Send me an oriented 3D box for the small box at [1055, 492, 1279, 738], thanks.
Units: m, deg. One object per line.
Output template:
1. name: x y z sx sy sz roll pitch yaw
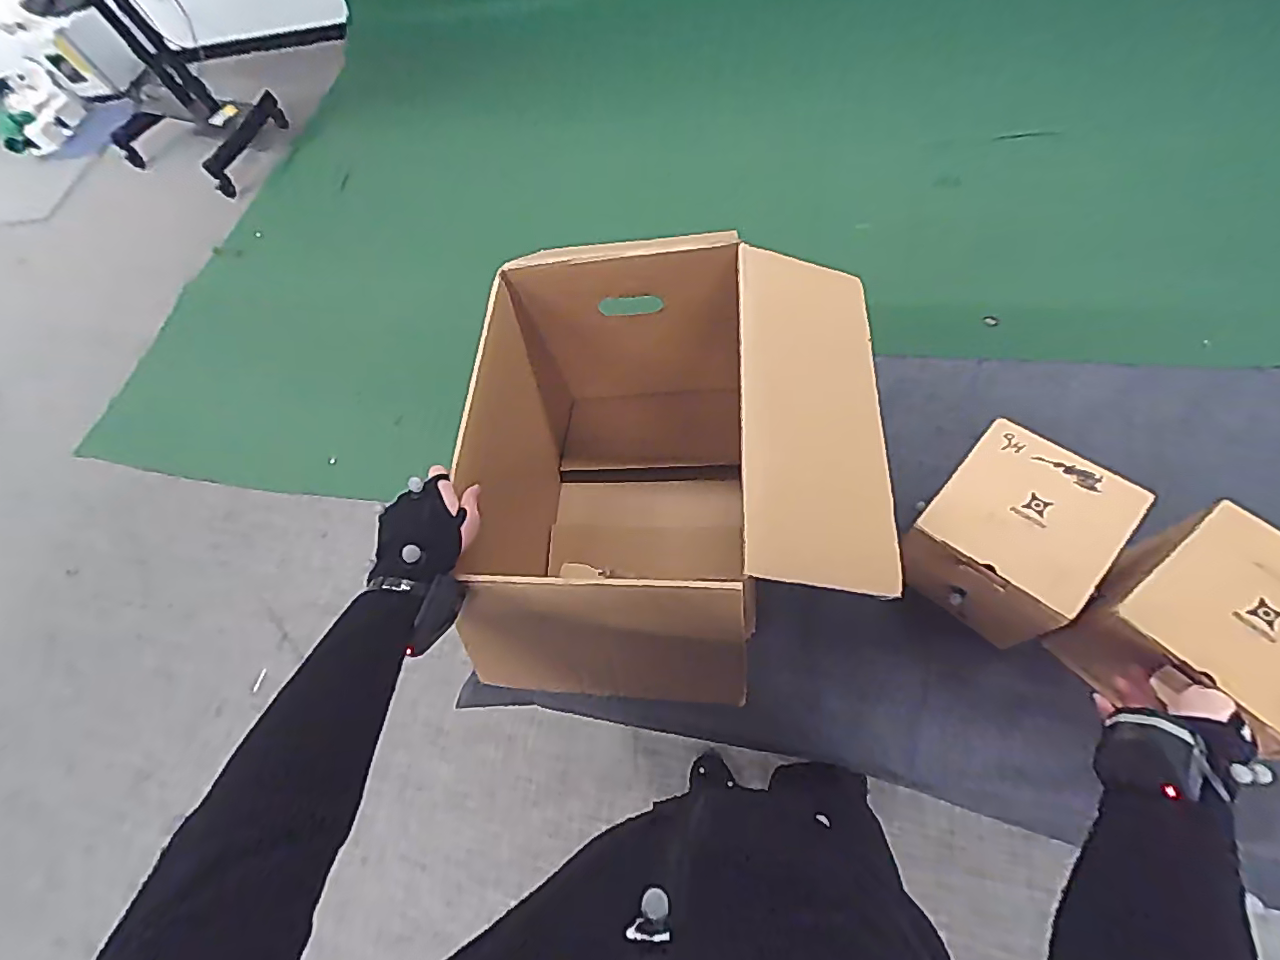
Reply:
1. small box: 0.592 0.151 0.572 0.179 0.176 0.168 -41 64 -9
